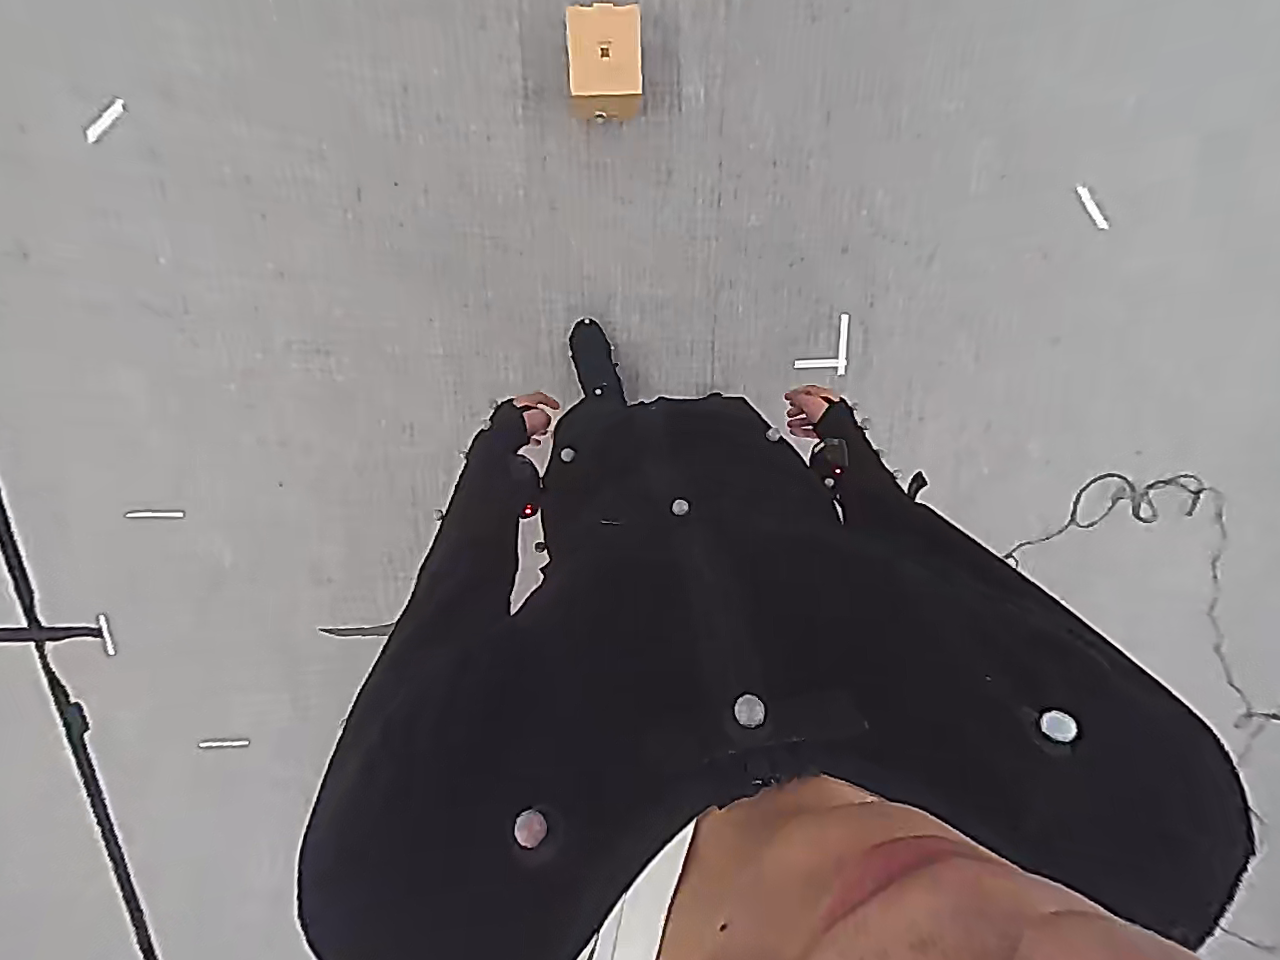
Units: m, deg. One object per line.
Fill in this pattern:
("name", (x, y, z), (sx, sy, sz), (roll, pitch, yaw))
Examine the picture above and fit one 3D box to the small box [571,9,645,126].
("small box", (-0.077, -0.980, 1.297), (0.168, 0.176, 0.179), (-3, 106, -3))
